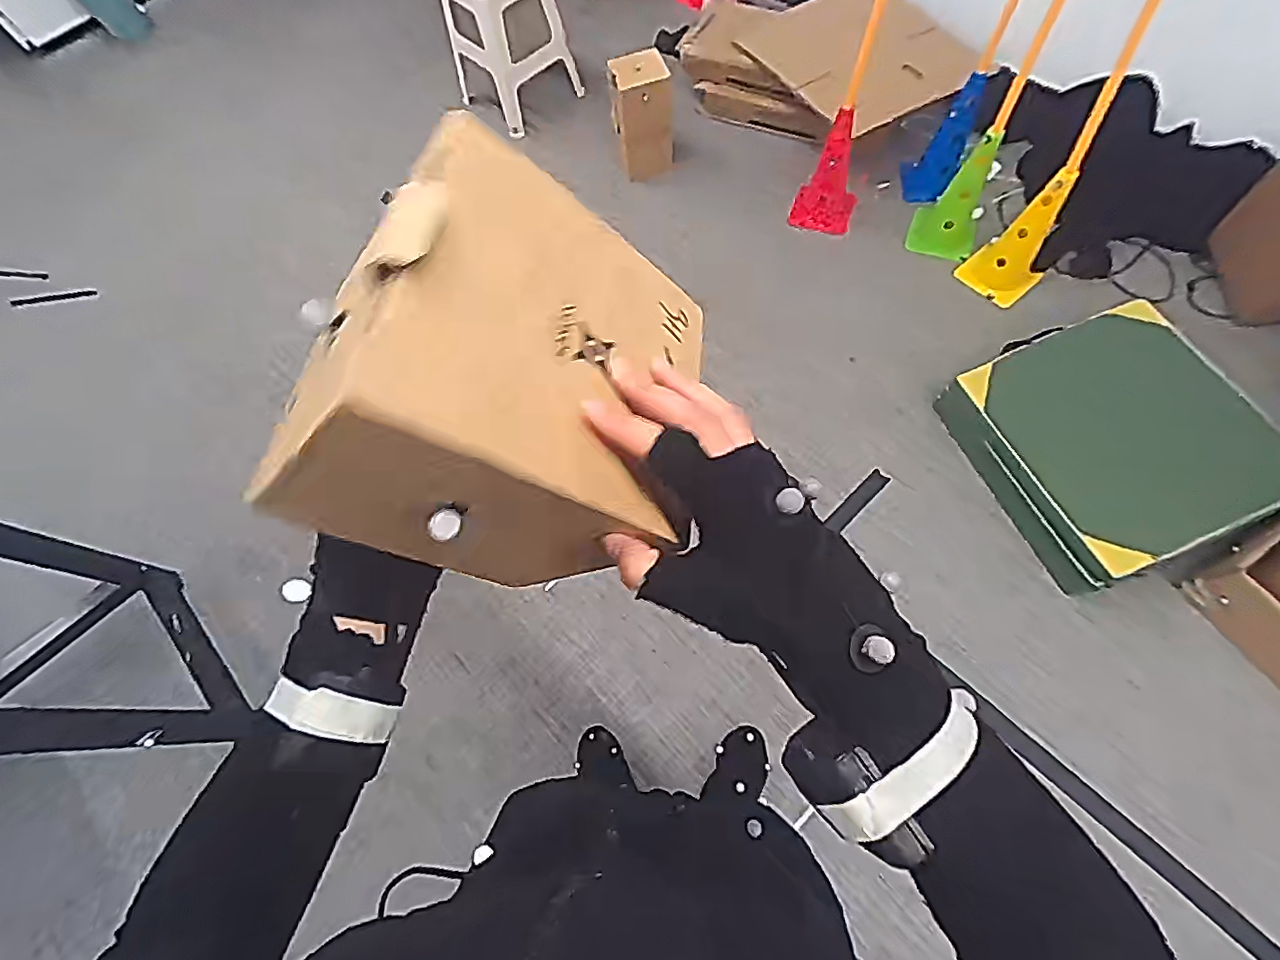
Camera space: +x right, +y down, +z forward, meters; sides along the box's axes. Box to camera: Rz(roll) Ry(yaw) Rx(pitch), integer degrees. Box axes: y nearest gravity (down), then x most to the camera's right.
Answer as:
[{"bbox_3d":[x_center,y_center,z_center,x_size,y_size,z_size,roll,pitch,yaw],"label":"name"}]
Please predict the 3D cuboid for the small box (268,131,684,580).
[{"bbox_3d":[-0.094,-0.041,0.321,0.179,0.176,0.168,19,63,-35],"label":"small box"}]
